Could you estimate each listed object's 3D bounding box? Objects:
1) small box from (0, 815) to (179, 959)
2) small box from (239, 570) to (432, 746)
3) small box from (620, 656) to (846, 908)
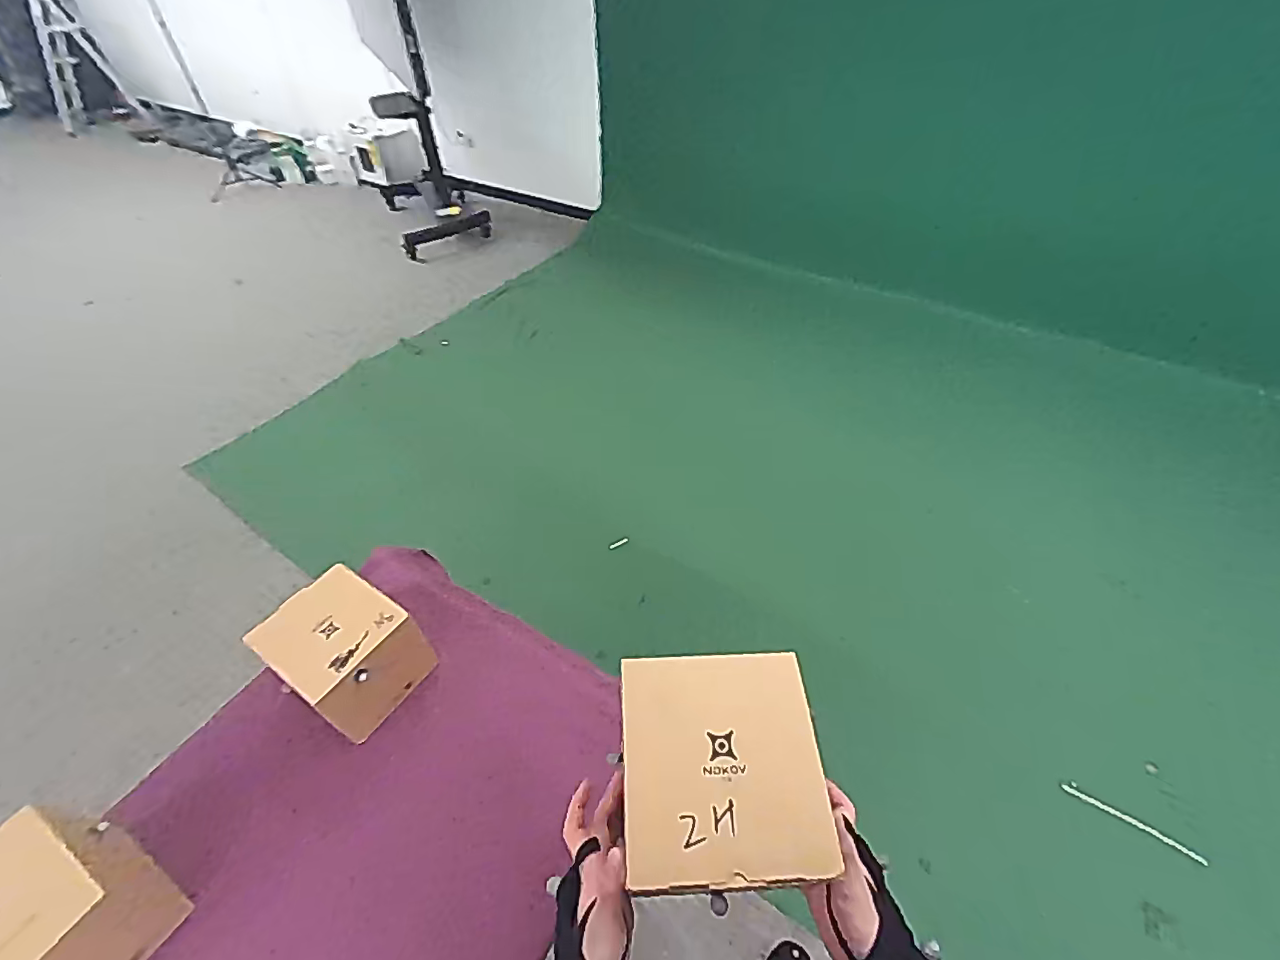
[{"bbox_3d":[-0.694,0.528,0.613,0.179,0.176,0.168,23,51,20],"label":"small box"},{"bbox_3d":[-0.464,0.282,0.849,0.179,0.176,0.168,25,52,23],"label":"small box"},{"bbox_3d":[0.064,0.280,0.501,0.168,0.176,0.179,-1,51,-1],"label":"small box"}]
